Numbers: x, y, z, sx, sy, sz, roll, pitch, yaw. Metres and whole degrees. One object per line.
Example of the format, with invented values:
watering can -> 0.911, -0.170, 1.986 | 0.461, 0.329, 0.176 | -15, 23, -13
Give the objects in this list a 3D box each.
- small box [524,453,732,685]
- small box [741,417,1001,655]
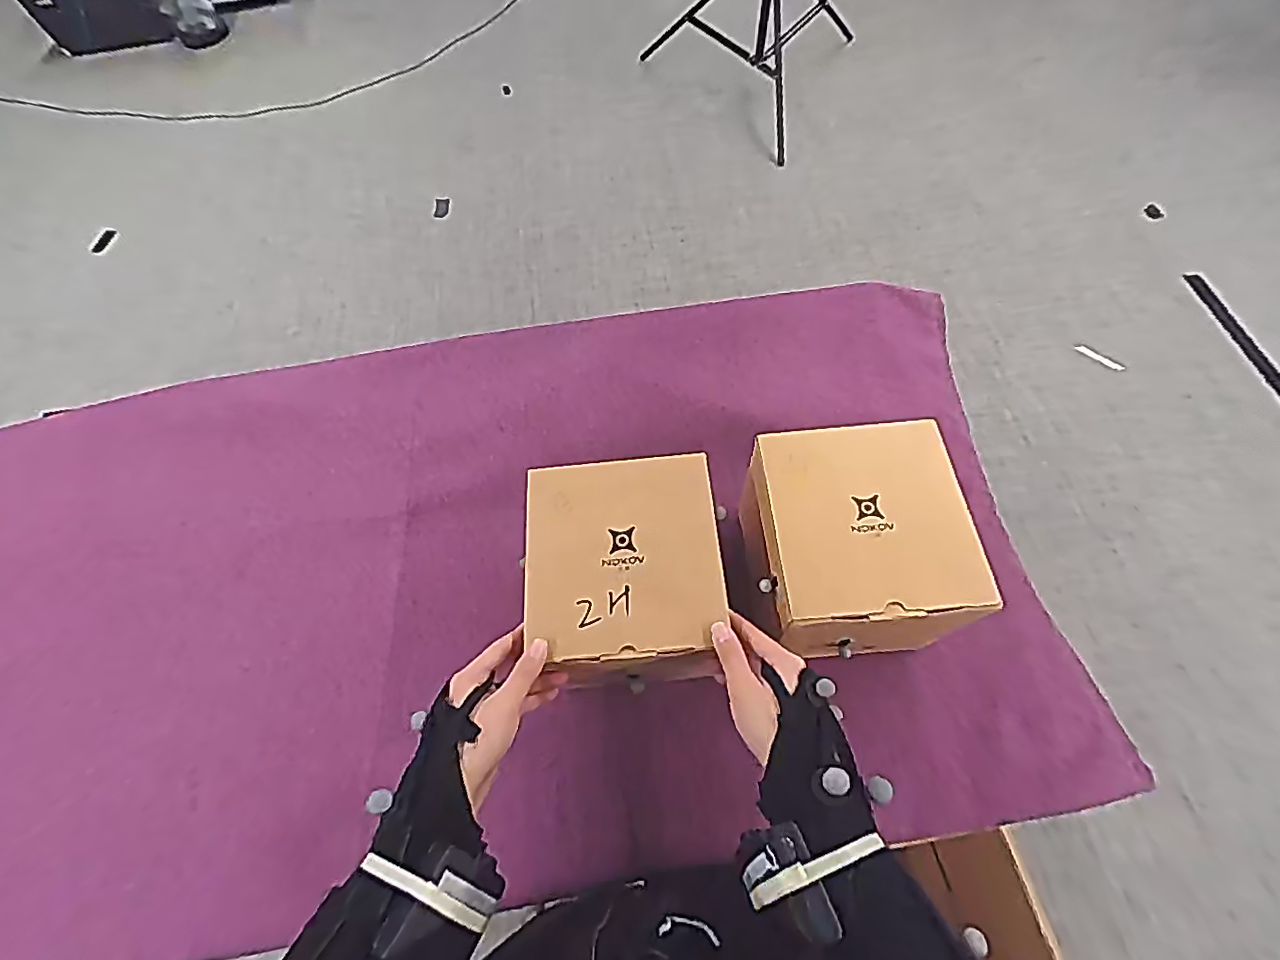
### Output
small box -> -0.010, 0.094, 0.530 | 0.168, 0.176, 0.179 | -5, 63, 1
small box -> 0.198, 0.062, 0.529 | 0.168, 0.176, 0.179 | -6, 63, 2
